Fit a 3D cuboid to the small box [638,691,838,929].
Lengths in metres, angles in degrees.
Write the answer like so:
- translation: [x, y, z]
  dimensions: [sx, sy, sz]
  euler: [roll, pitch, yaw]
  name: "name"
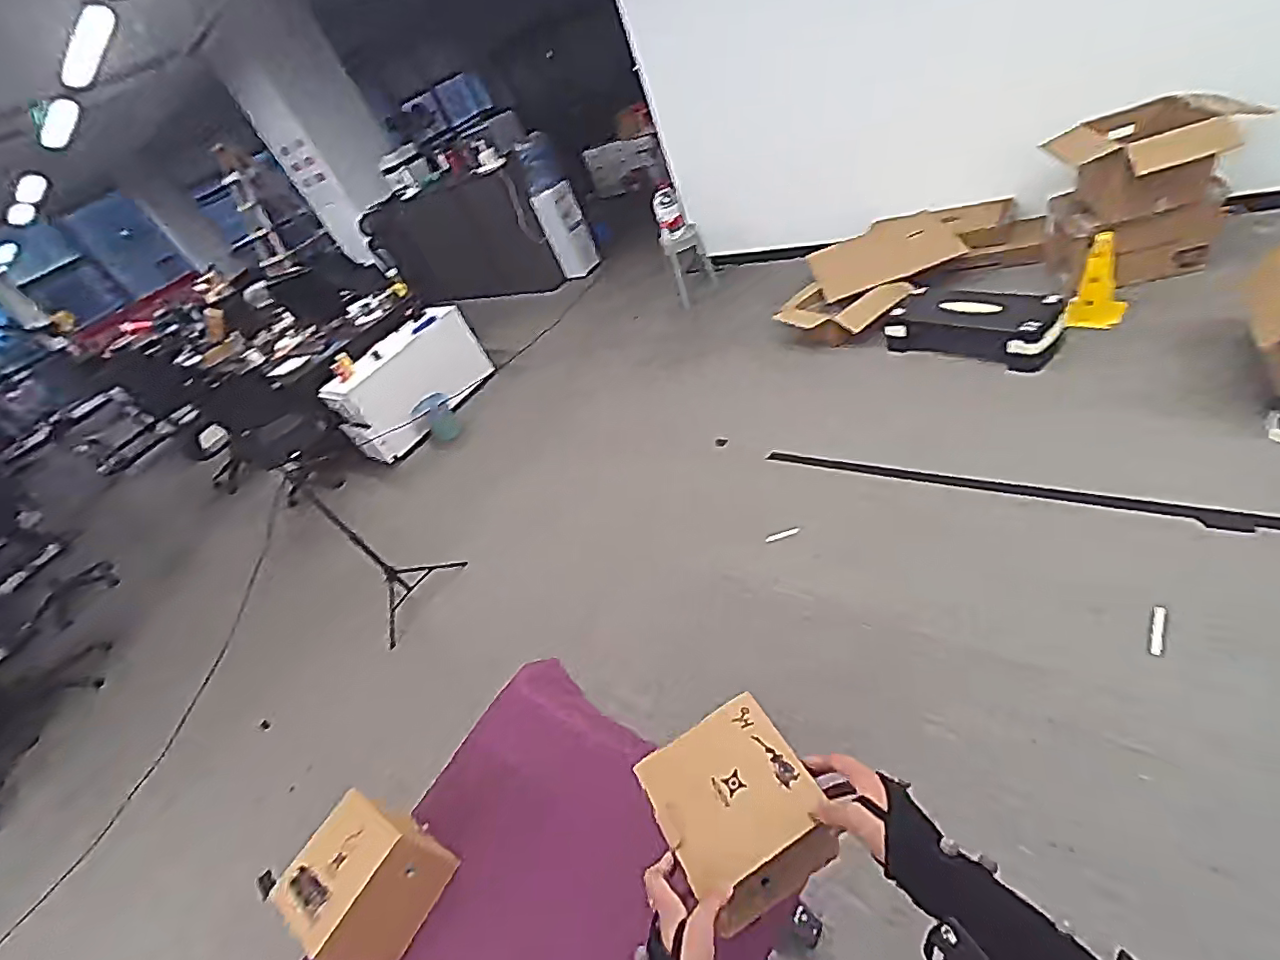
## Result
- translation: [0.125, 0.408, 0.669]
  dimensions: [0.179, 0.176, 0.168]
  euler: [-28, 40, -9]
  name: "small box"
